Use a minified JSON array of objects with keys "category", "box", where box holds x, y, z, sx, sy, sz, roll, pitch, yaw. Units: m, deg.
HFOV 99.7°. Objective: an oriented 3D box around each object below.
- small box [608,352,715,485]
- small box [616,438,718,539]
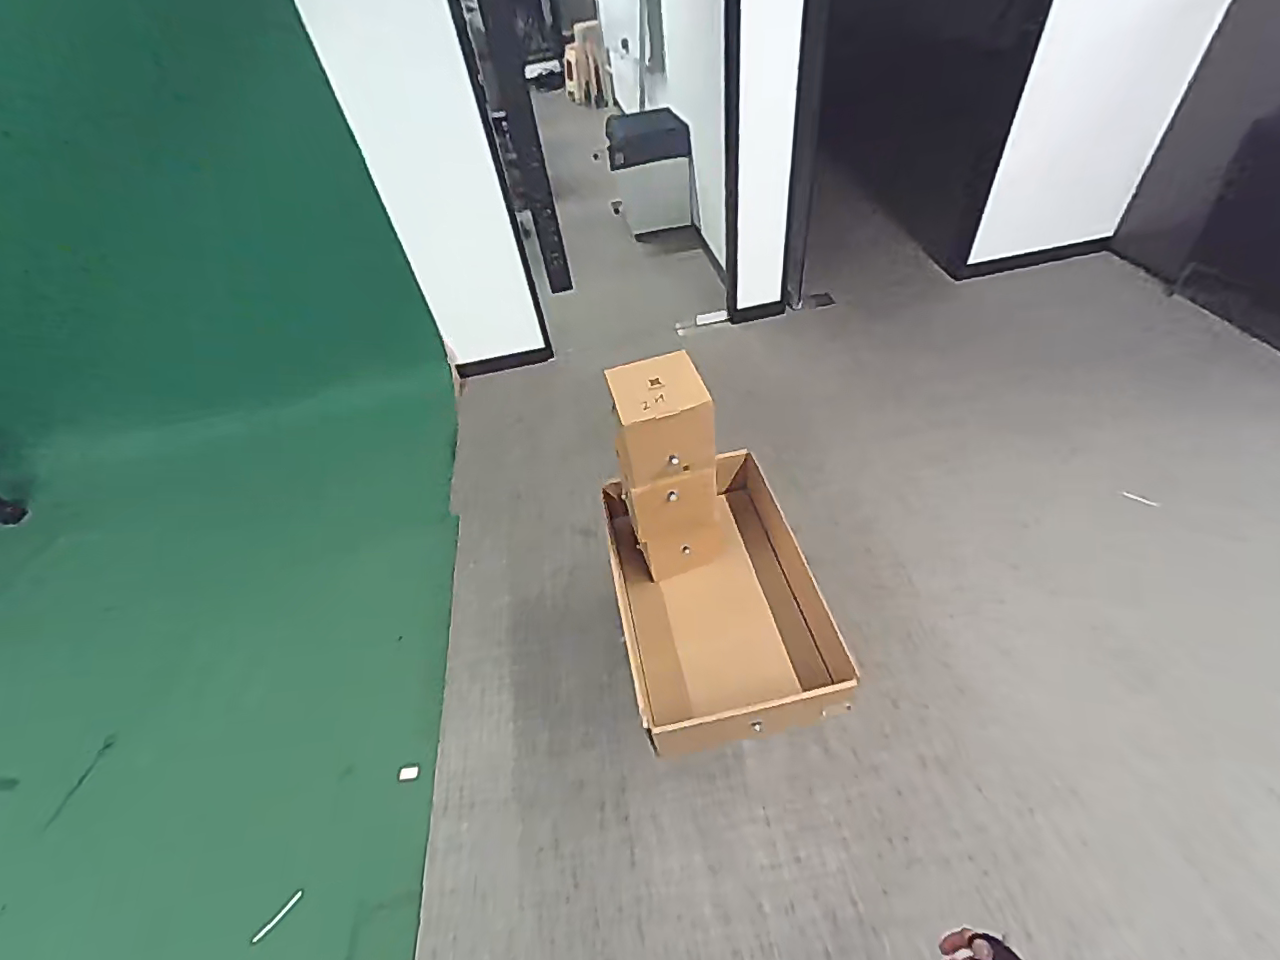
[{"category":"small box","box":[0.043,-0.119,1.058,0.168,0.176,0.179,-15,47,-3]},{"category":"small box","box":[0.060,0.001,1.170,0.179,0.176,0.168,-17,47,-4]}]
